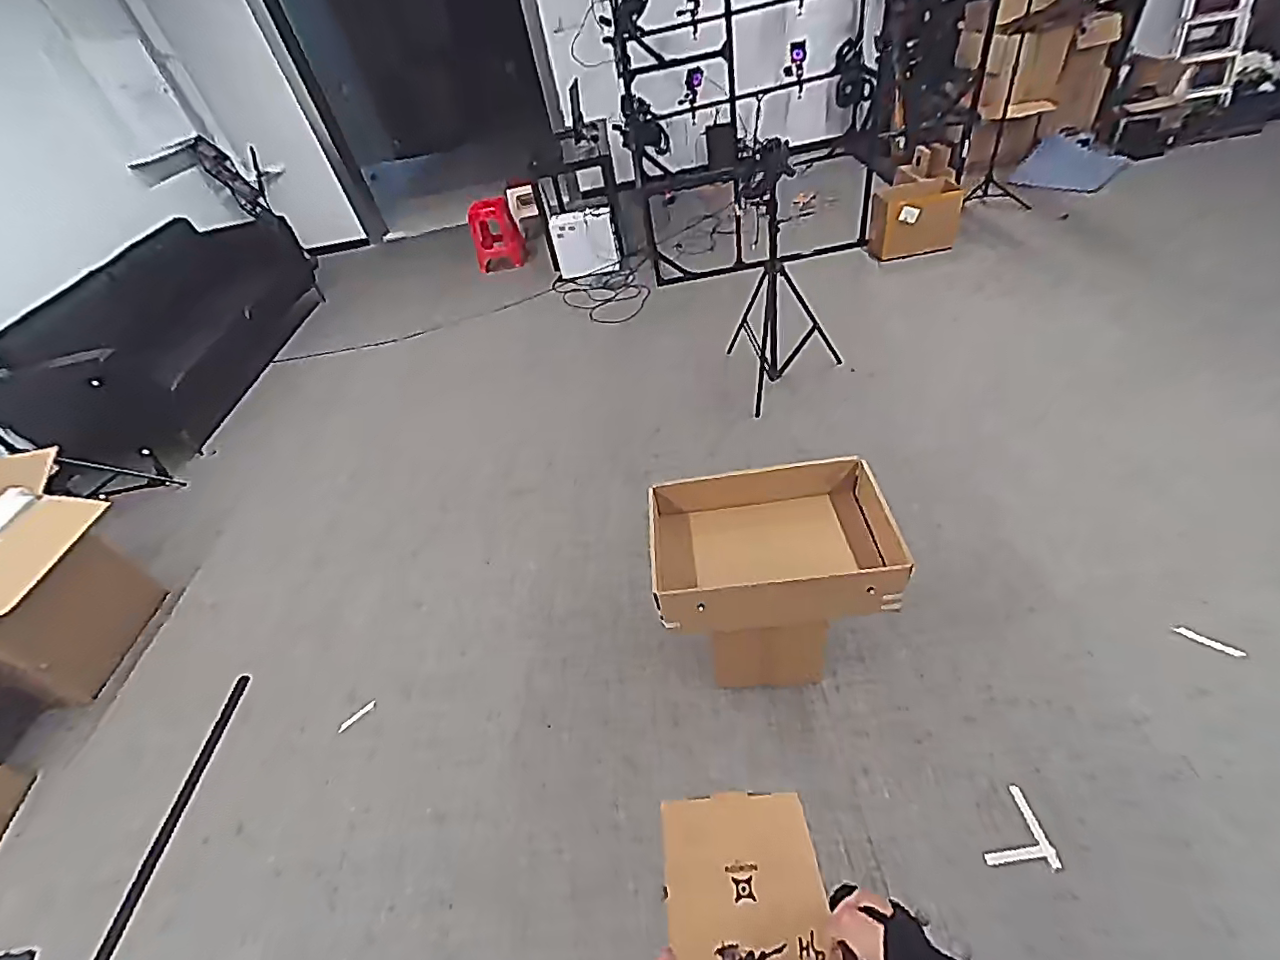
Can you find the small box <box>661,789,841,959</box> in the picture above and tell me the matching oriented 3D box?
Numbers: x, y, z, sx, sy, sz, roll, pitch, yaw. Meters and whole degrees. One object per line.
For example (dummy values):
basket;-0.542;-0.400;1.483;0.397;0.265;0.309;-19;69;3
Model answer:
small box;0.111;0.489;0.622;0.168;0.176;0.179;-3;34;-1
